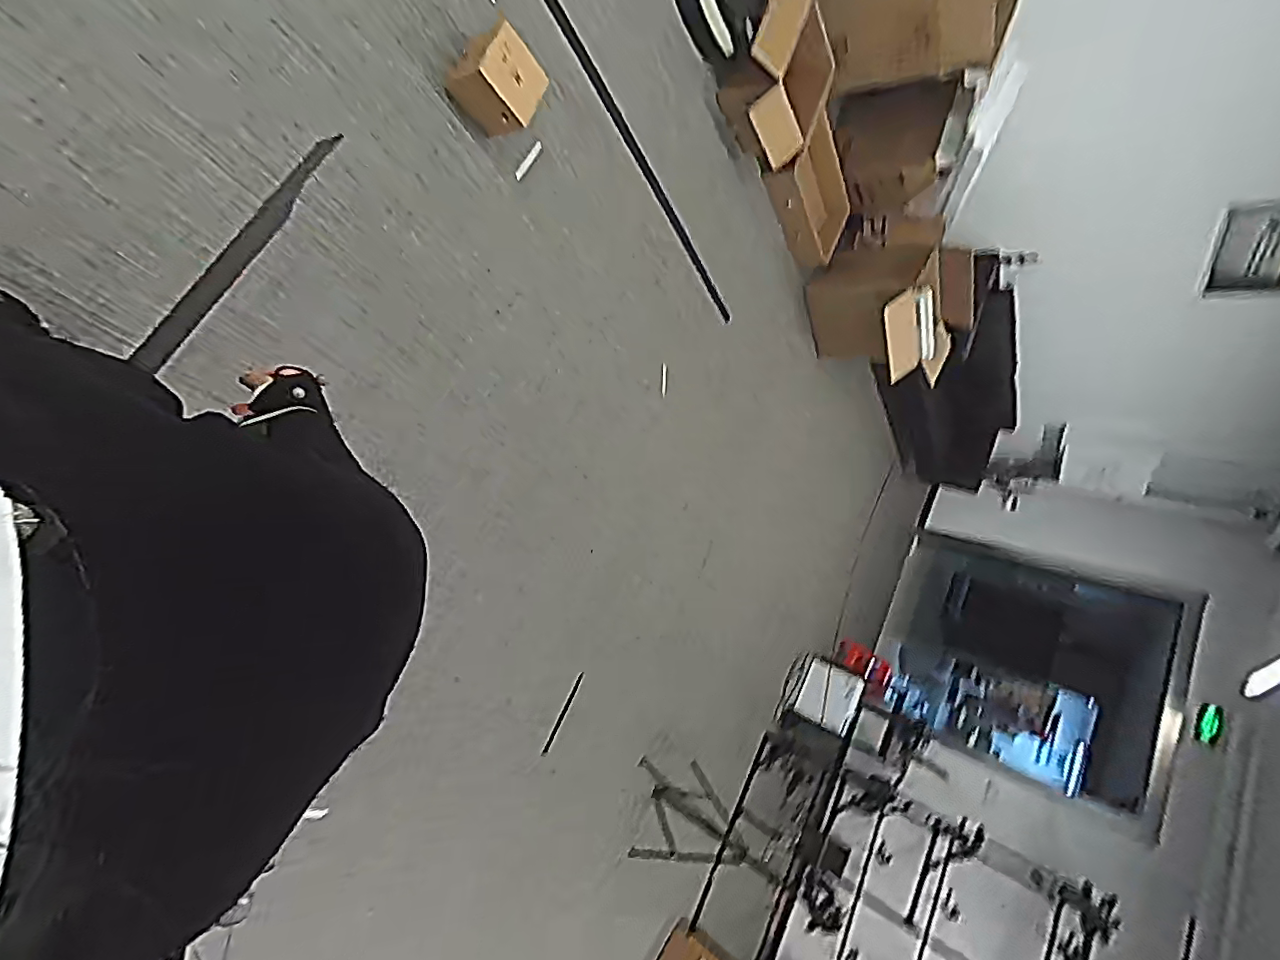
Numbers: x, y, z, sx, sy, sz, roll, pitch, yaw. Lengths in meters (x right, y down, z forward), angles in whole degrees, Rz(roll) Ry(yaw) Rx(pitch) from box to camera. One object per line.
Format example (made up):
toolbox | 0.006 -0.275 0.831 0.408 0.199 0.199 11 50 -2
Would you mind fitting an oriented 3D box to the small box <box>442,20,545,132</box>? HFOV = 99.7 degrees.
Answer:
small box | -0.401 -1.089 1.476 0.179 0.176 0.168 34 75 -50
